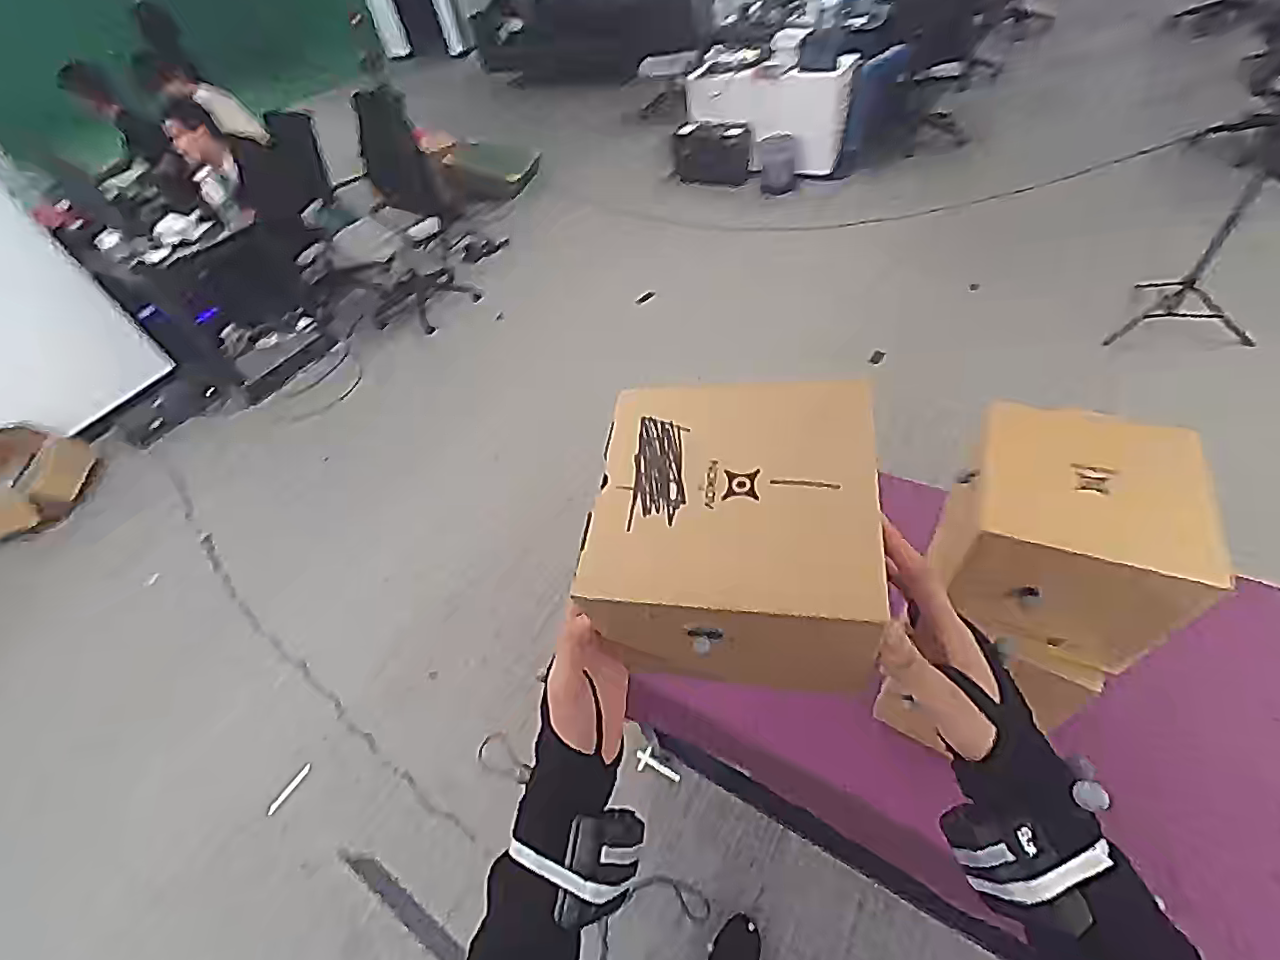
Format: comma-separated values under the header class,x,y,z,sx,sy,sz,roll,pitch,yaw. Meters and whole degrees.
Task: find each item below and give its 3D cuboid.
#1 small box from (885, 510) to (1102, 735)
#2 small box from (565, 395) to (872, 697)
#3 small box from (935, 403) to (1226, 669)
class,x,y,z,sx,sy,sz,roll,pitch,yaw
small box,0.415,0.171,0.645,0.179,0.176,0.168,22,57,27
small box,0.067,0.054,0.408,0.179,0.176,0.168,1,57,14
small box,0.404,0.055,0.530,0.168,0.176,0.179,15,52,23
